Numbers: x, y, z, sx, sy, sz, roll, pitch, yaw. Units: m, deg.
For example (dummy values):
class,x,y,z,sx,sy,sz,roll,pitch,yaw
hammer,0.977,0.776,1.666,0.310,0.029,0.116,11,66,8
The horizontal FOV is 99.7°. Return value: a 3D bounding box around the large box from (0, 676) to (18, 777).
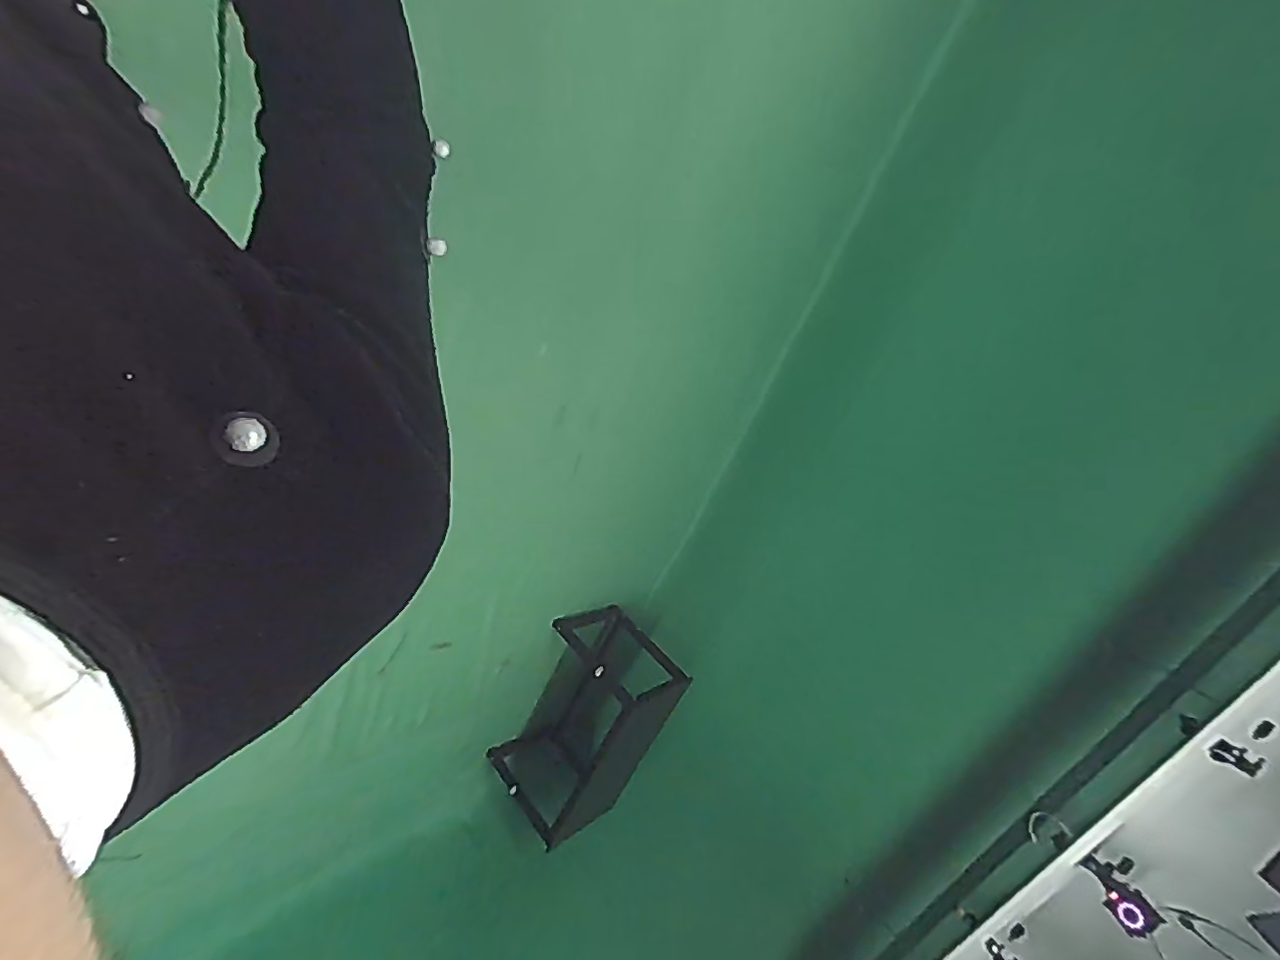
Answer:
class,x,y,z,sx,sy,sz,roll,pitch,yaw
large box,-1.769,0.620,1.200,0.408,0.320,0.320,-35,146,-27
